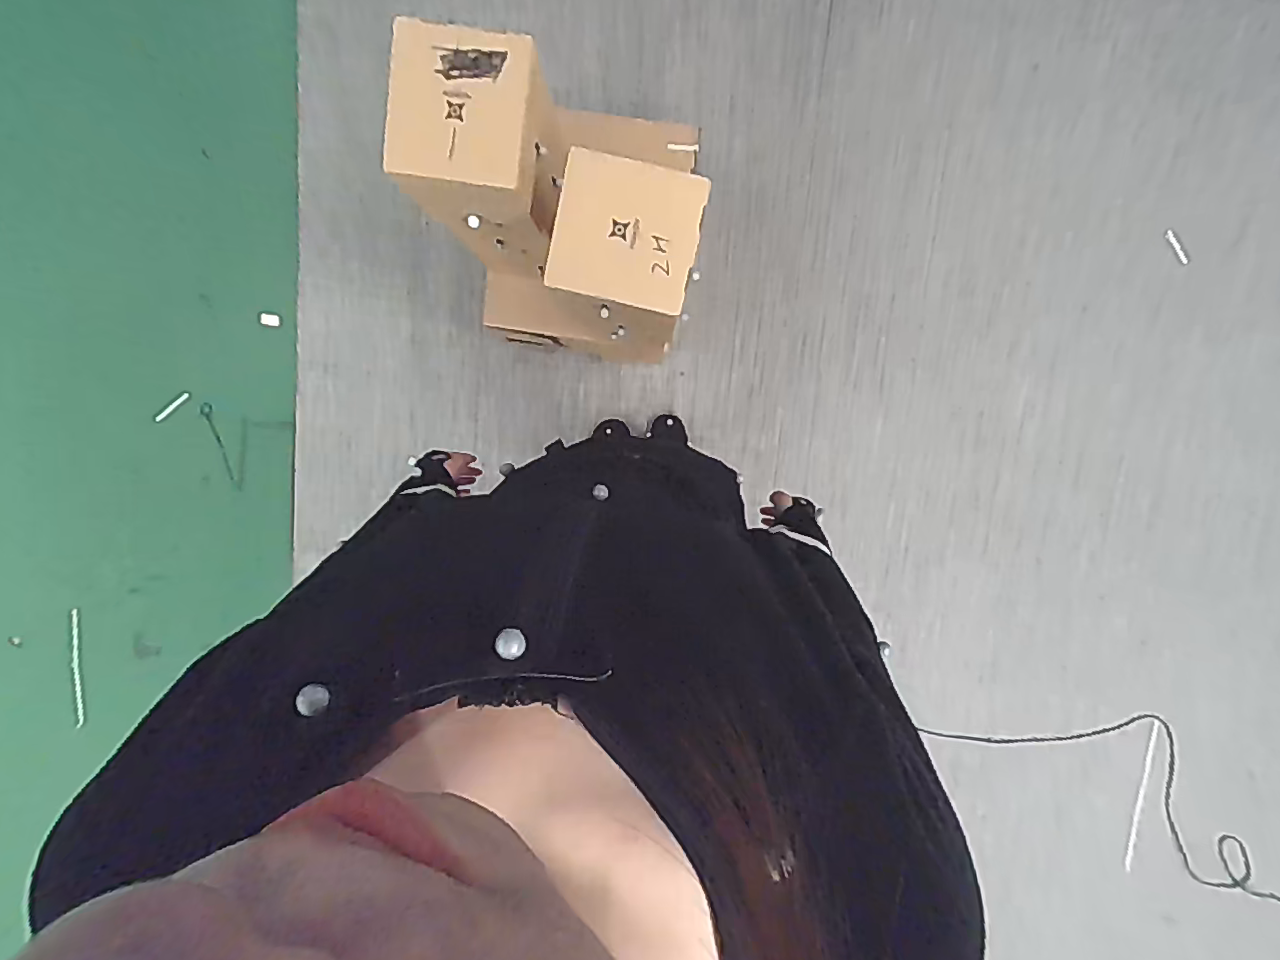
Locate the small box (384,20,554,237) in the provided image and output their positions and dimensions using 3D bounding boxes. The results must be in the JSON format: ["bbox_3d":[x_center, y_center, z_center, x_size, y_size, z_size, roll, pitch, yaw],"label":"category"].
[{"bbox_3d":[-0.216,-0.453,0.724,0.168,0.176,0.179,9,97,0],"label":"small box"}]

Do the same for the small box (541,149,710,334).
[{"bbox_3d":[-0.018,-0.305,0.731,0.179,0.176,0.168,13,97,-1],"label":"small box"}]

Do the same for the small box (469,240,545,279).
[{"bbox_3d":[-0.216,-0.497,1.049,0.168,0.176,0.179,8,95,0],"label":"small box"}]

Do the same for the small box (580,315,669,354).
[{"bbox_3d":[-0.015,-0.358,1.058,0.168,0.176,0.179,10,95,0],"label":"small box"}]

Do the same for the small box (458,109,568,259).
[{"bbox_3d":[-0.213,-0.483,0.885,0.168,0.176,0.179,8,97,0],"label":"small box"}]
